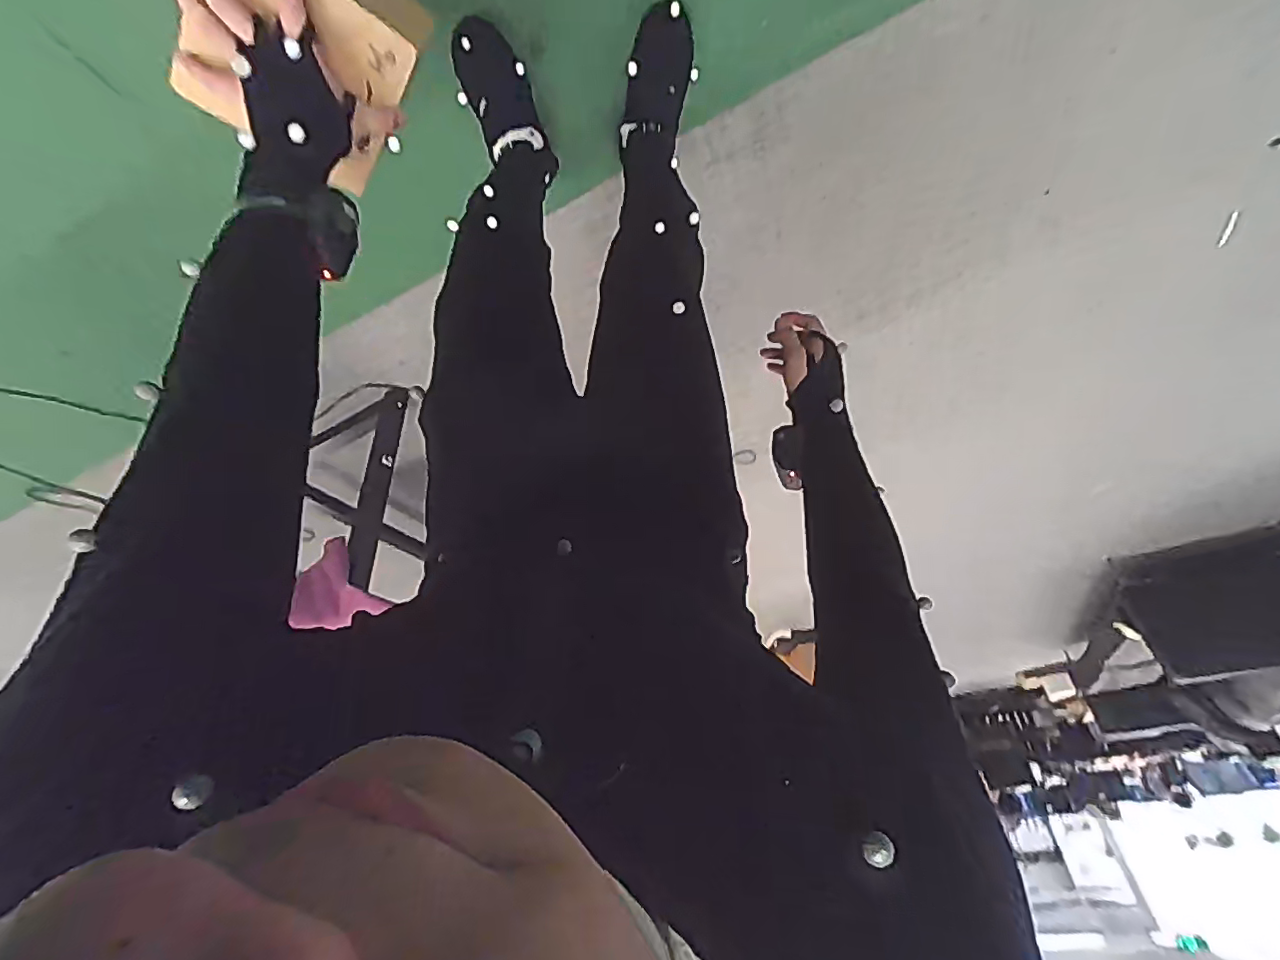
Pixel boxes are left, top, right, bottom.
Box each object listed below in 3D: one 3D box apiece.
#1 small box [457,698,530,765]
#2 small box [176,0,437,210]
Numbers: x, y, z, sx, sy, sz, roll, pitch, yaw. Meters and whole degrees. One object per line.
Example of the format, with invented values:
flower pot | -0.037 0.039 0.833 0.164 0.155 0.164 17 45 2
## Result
small box | -0.486 0.848 1.821 0.179 0.176 0.168 -20 142 18
small box | -0.336 -0.433 0.570 0.179 0.176 0.168 23 129 -32
